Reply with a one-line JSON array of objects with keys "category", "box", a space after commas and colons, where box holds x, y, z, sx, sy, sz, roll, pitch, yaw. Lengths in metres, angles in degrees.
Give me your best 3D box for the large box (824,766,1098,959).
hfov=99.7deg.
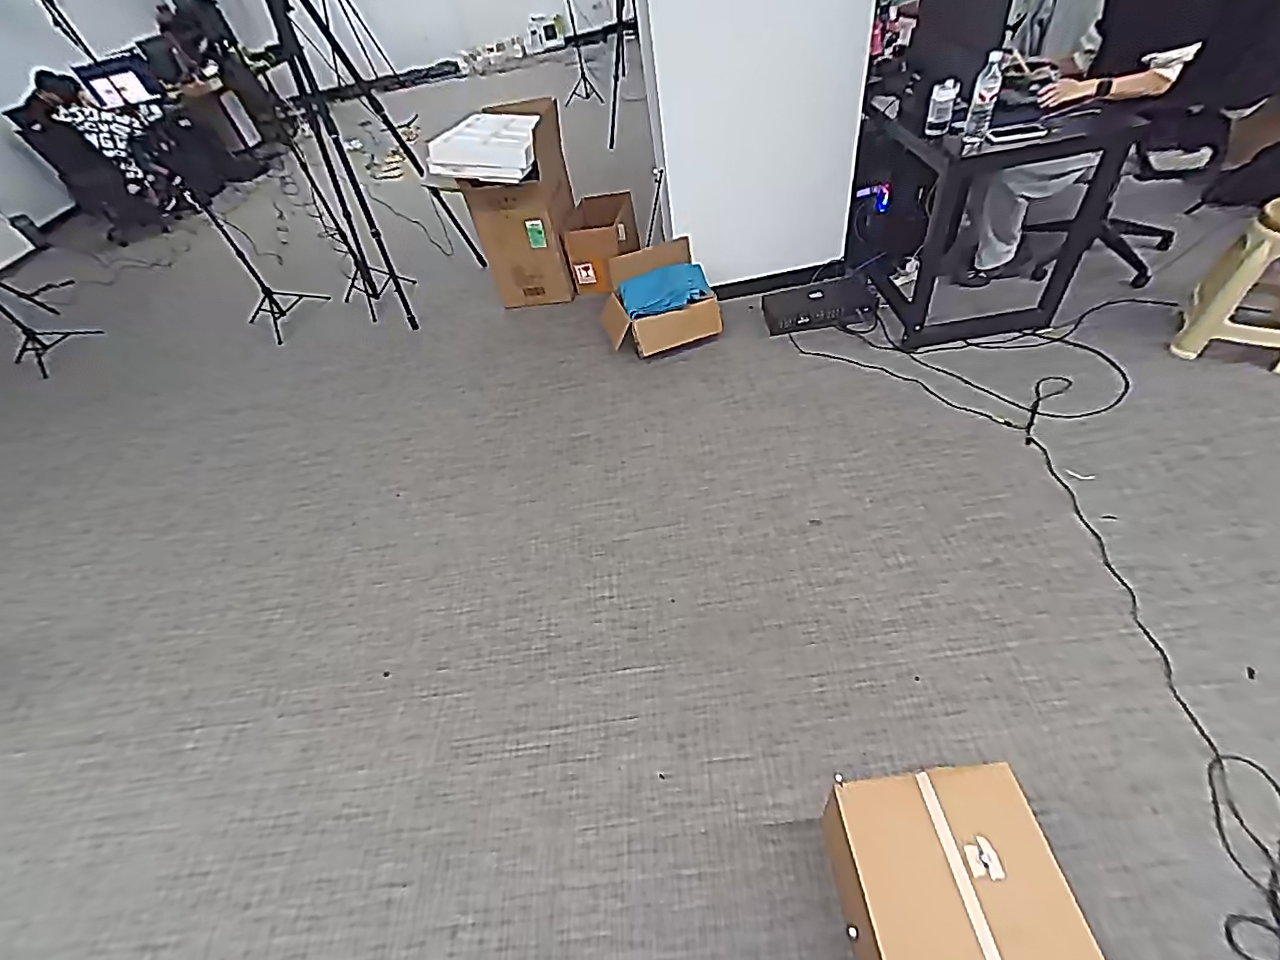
[{"category": "large box", "box": [0.549, 0.790, 0.965, 0.320, 0.320, 0.408, -9, 46, 4]}]
